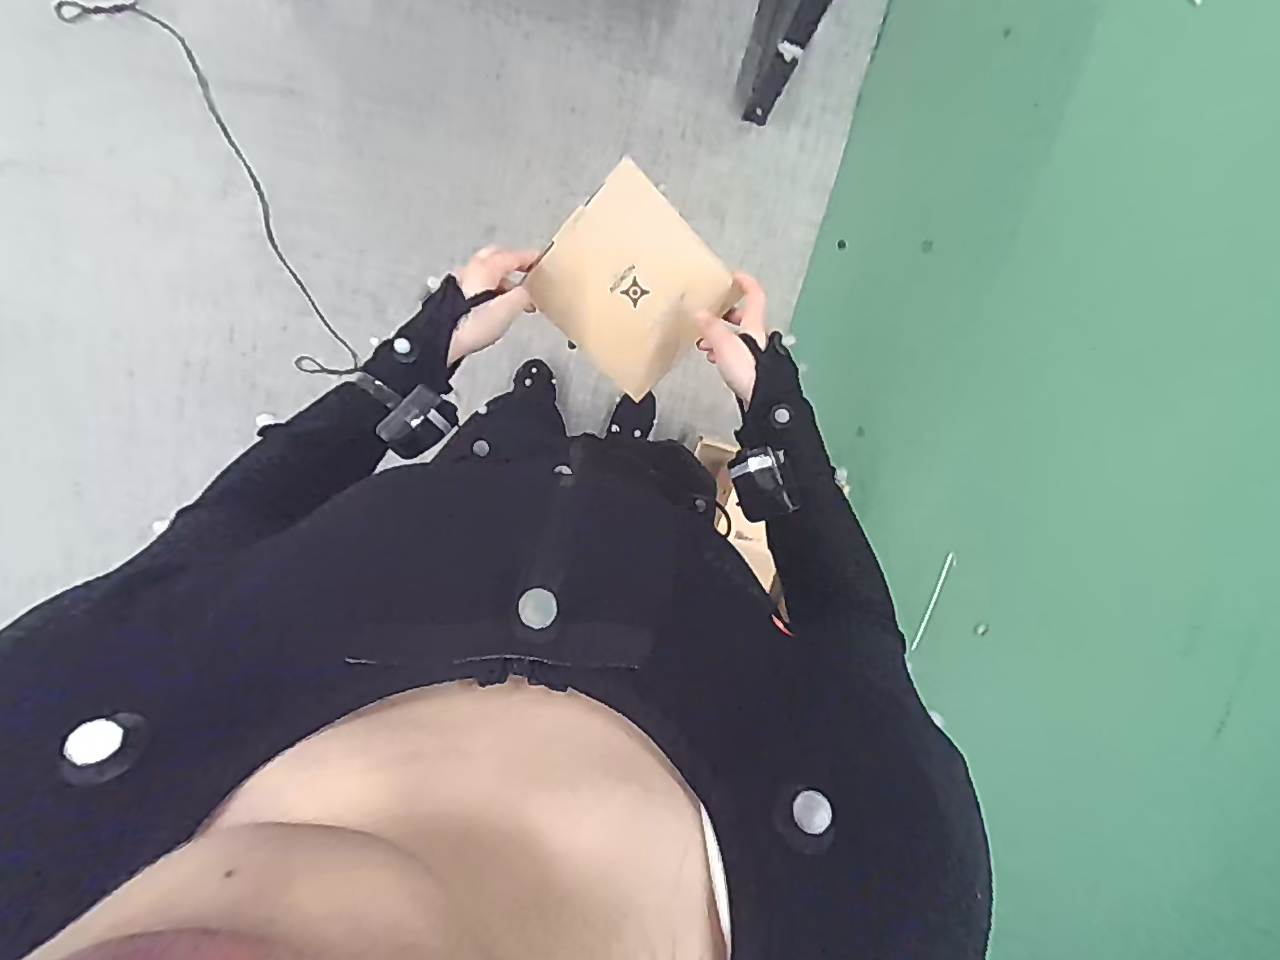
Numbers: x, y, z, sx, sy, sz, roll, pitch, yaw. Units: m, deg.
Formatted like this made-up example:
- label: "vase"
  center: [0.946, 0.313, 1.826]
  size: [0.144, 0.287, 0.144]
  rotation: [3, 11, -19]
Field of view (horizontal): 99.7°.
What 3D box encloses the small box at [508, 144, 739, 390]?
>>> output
- label: "small box"
  center: [-0.019, -0.234, 0.613]
  size: [0.179, 0.176, 0.168]
  rotation: [39, 108, -19]
